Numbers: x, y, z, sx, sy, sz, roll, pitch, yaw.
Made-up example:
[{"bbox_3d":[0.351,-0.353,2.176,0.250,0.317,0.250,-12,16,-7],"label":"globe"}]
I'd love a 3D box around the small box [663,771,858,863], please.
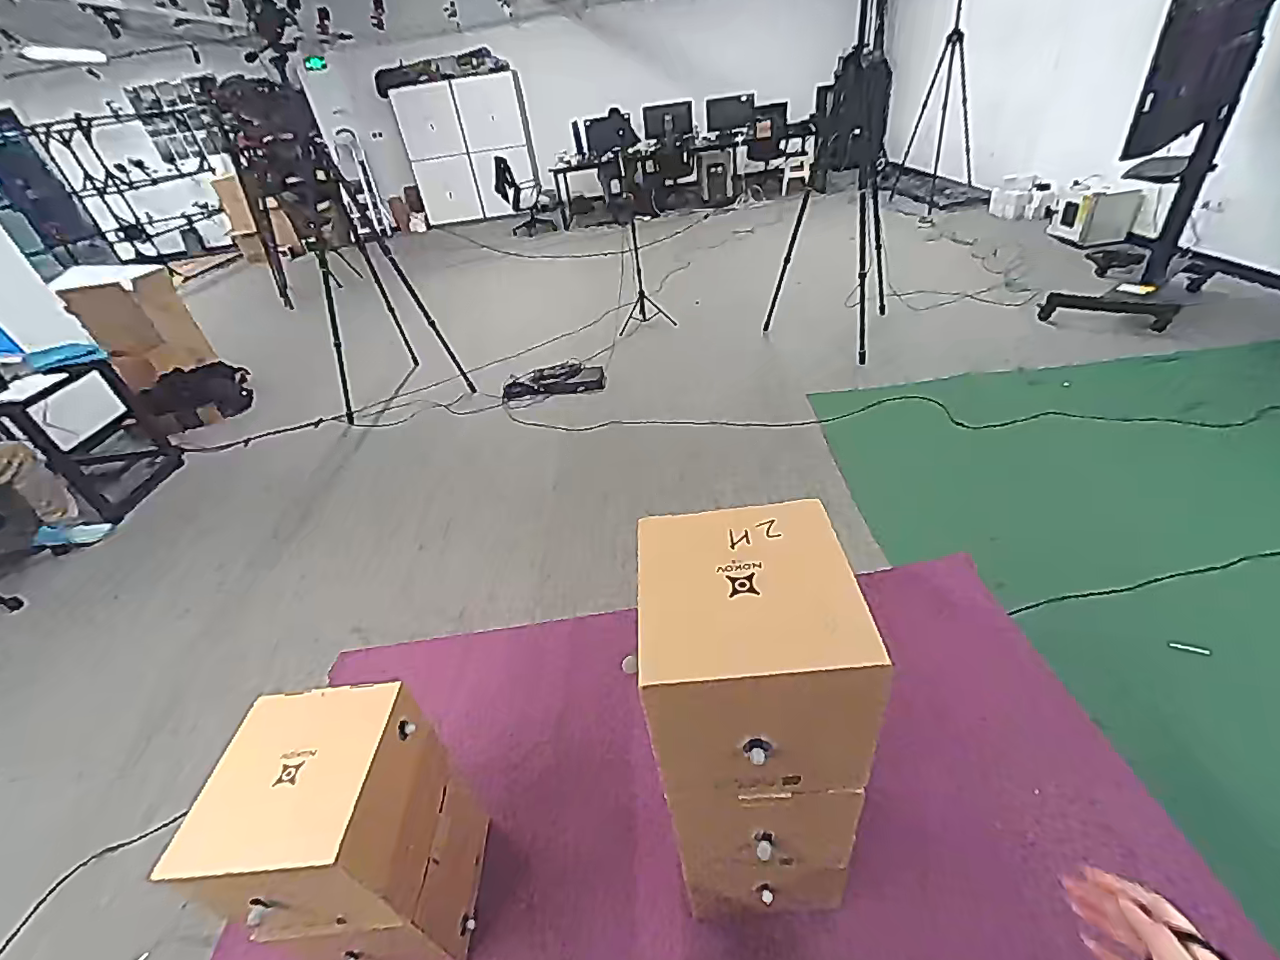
[{"bbox_3d":[0.115,0.277,0.565,0.168,0.176,0.179,-5,37,6],"label":"small box"}]

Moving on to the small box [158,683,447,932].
[{"bbox_3d":[-0.324,0.346,0.570,0.168,0.176,0.179,-7,35,3],"label":"small box"}]

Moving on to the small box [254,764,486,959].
[{"bbox_3d":[-0.306,0.478,0.663,0.179,0.176,0.168,-8,36,2],"label":"small box"}]

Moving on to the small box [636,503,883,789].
[{"bbox_3d":[0.091,0.145,0.467,0.168,0.176,0.179,-6,35,5],"label":"small box"}]
